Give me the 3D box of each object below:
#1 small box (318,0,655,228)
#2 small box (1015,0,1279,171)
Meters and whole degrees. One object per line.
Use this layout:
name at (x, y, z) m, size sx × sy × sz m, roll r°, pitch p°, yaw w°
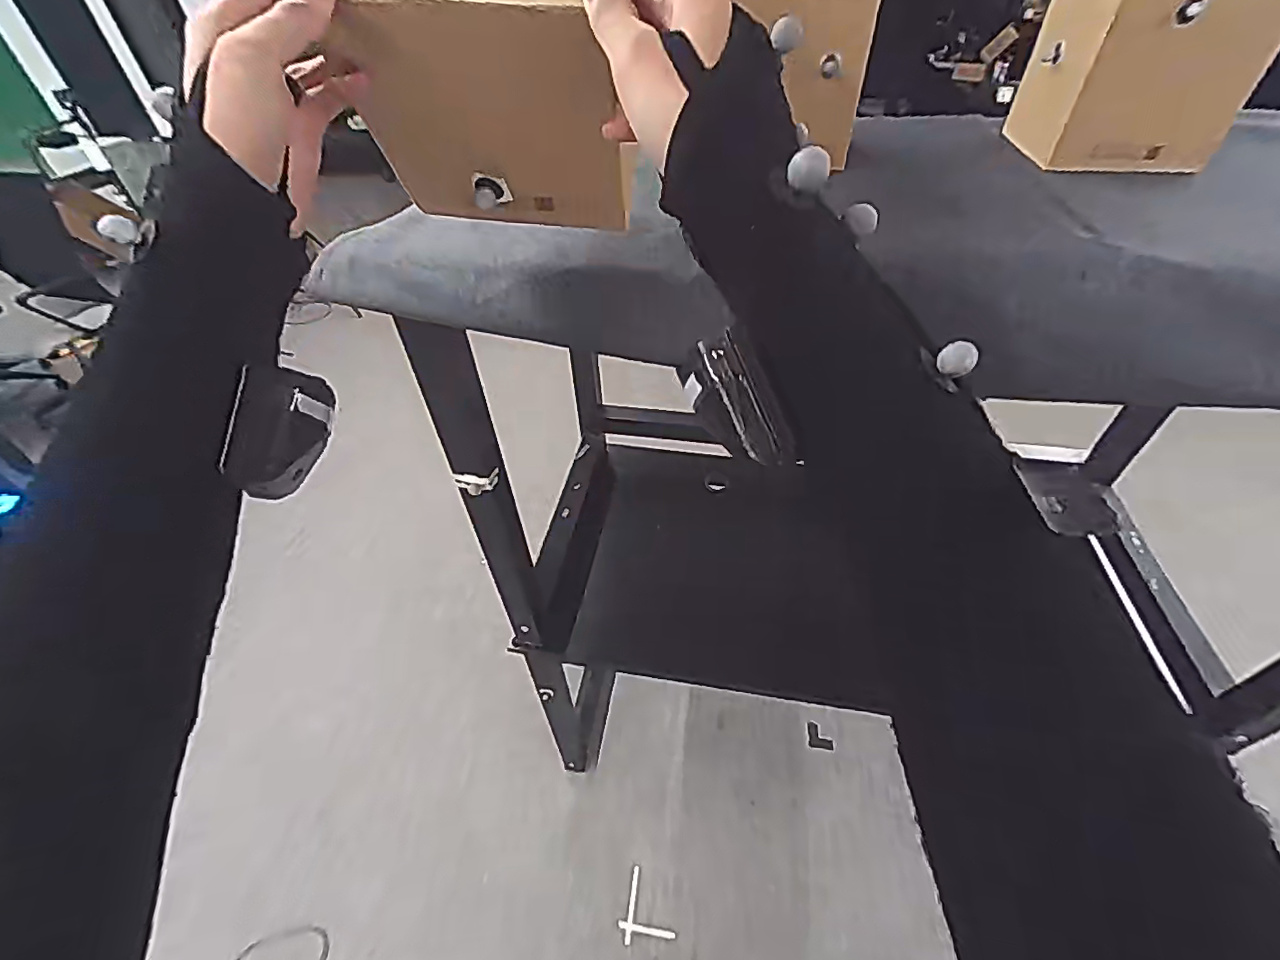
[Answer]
small box at (-0.079, -0.300, 0.352) m, size 0.168 × 0.176 × 0.179 m, roll 5°, pitch 77°, yaw 3°
small box at (0.568, -0.469, 0.613) m, size 0.168 × 0.176 × 0.179 m, roll 5°, pitch 45°, yaw 8°
